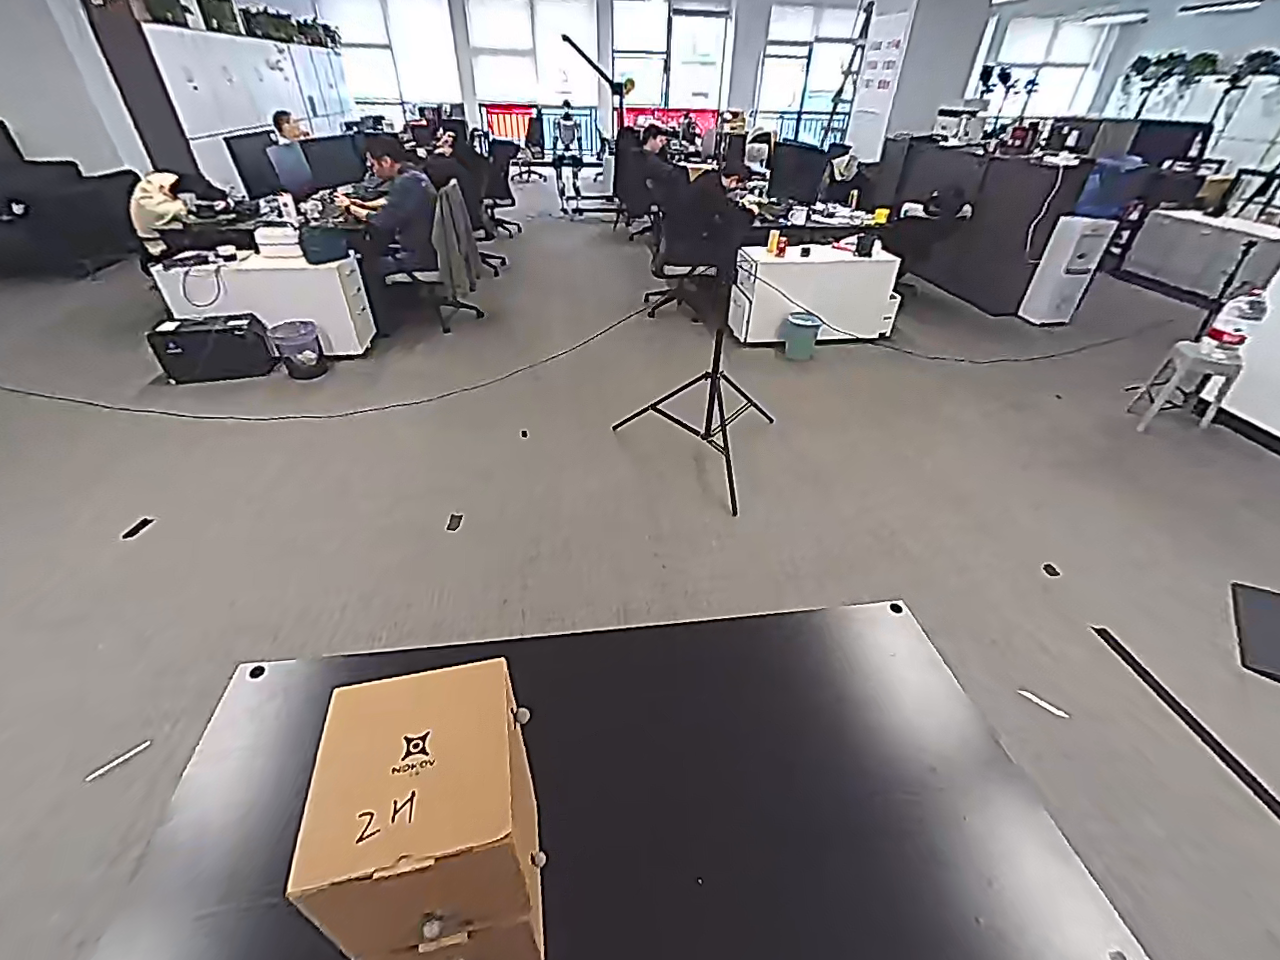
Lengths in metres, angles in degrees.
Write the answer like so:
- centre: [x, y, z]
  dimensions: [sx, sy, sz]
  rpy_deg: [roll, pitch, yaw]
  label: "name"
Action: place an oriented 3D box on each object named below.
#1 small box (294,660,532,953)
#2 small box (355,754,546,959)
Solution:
- centre: [-0.201, 0.312, 0.531]
  dimensions: [0.168, 0.176, 0.179]
  rpy_deg: [-8, 37, -11]
  label: "small box"
- centre: [-0.203, 0.449, 0.625]
  dimensions: [0.168, 0.176, 0.179]
  rpy_deg: [-7, 37, -10]
  label: "small box"
